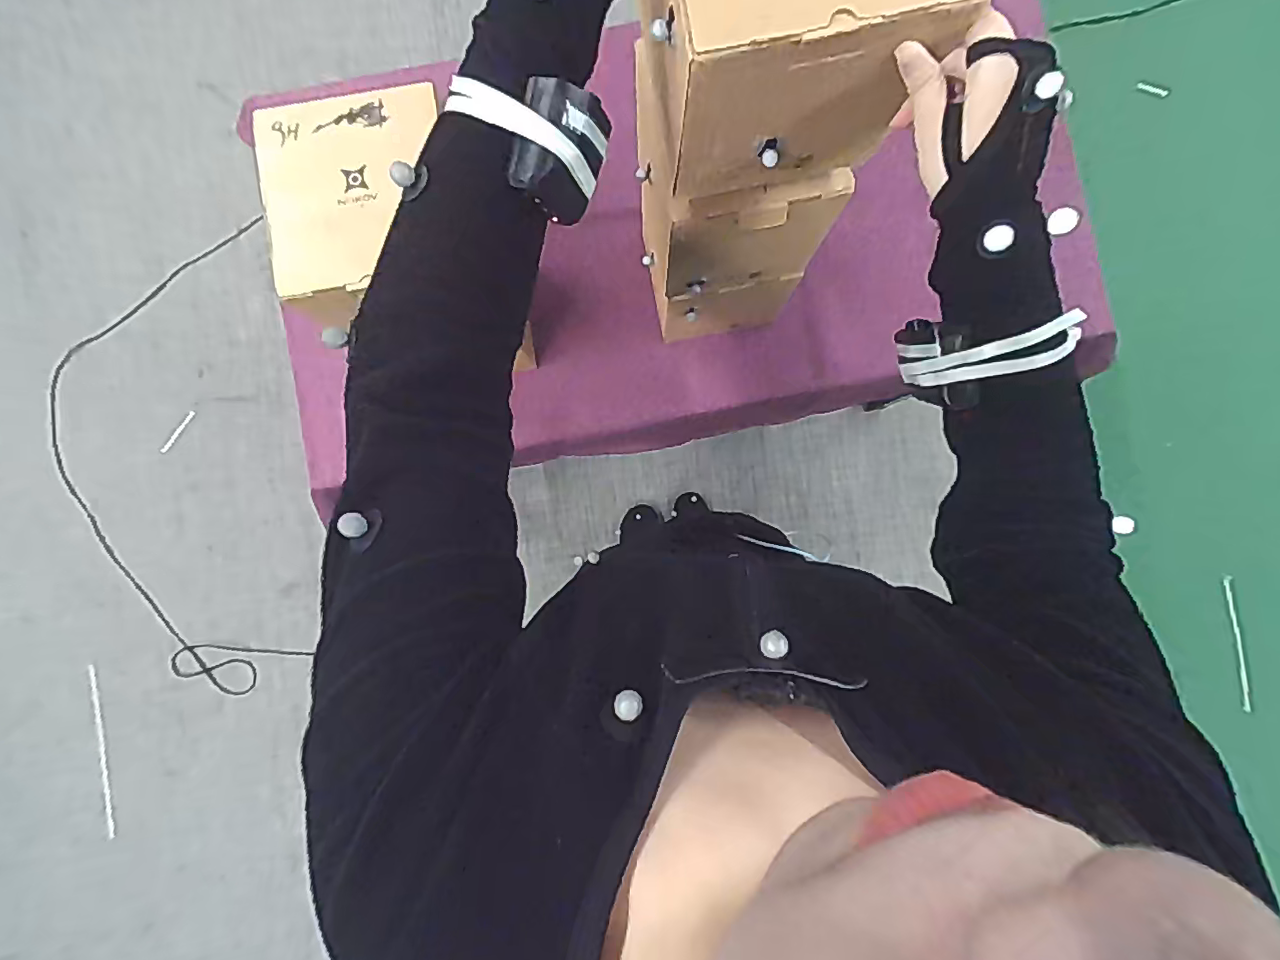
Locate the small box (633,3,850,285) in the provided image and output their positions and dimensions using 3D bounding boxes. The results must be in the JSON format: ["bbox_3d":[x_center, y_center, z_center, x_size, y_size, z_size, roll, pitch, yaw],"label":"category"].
[{"bbox_3d":[0.091,-0.319,0.555,0.168,0.176,0.179,-11,86,0],"label":"small box"}]

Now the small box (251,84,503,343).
[{"bbox_3d":[-0.250,-0.250,0.555,0.168,0.176,0.179,-9,88,-1],"label":"small box"}]
